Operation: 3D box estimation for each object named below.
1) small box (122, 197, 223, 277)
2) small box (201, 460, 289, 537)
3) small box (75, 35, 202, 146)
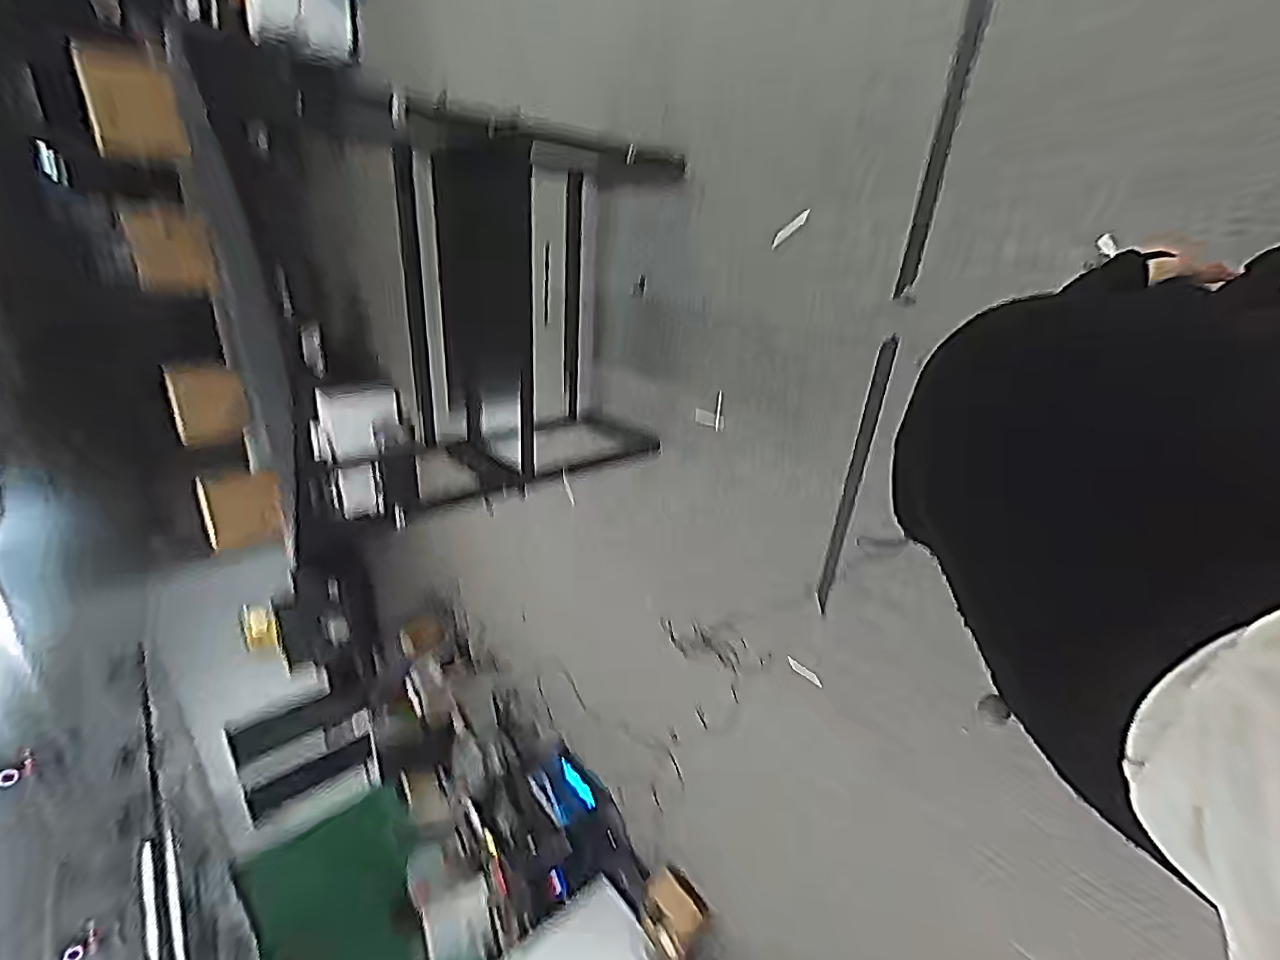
[{"bbox_3d":[-1.253,-0.650,1.452,0.168,0.176,0.179,31,125,41],"label":"small box"},{"bbox_3d":[-1.125,0.045,1.545,0.179,0.176,0.168,16,114,45],"label":"small box"},{"bbox_3d":[-1.075,-0.831,1.170,0.179,0.176,0.168,33,127,40],"label":"small box"}]
